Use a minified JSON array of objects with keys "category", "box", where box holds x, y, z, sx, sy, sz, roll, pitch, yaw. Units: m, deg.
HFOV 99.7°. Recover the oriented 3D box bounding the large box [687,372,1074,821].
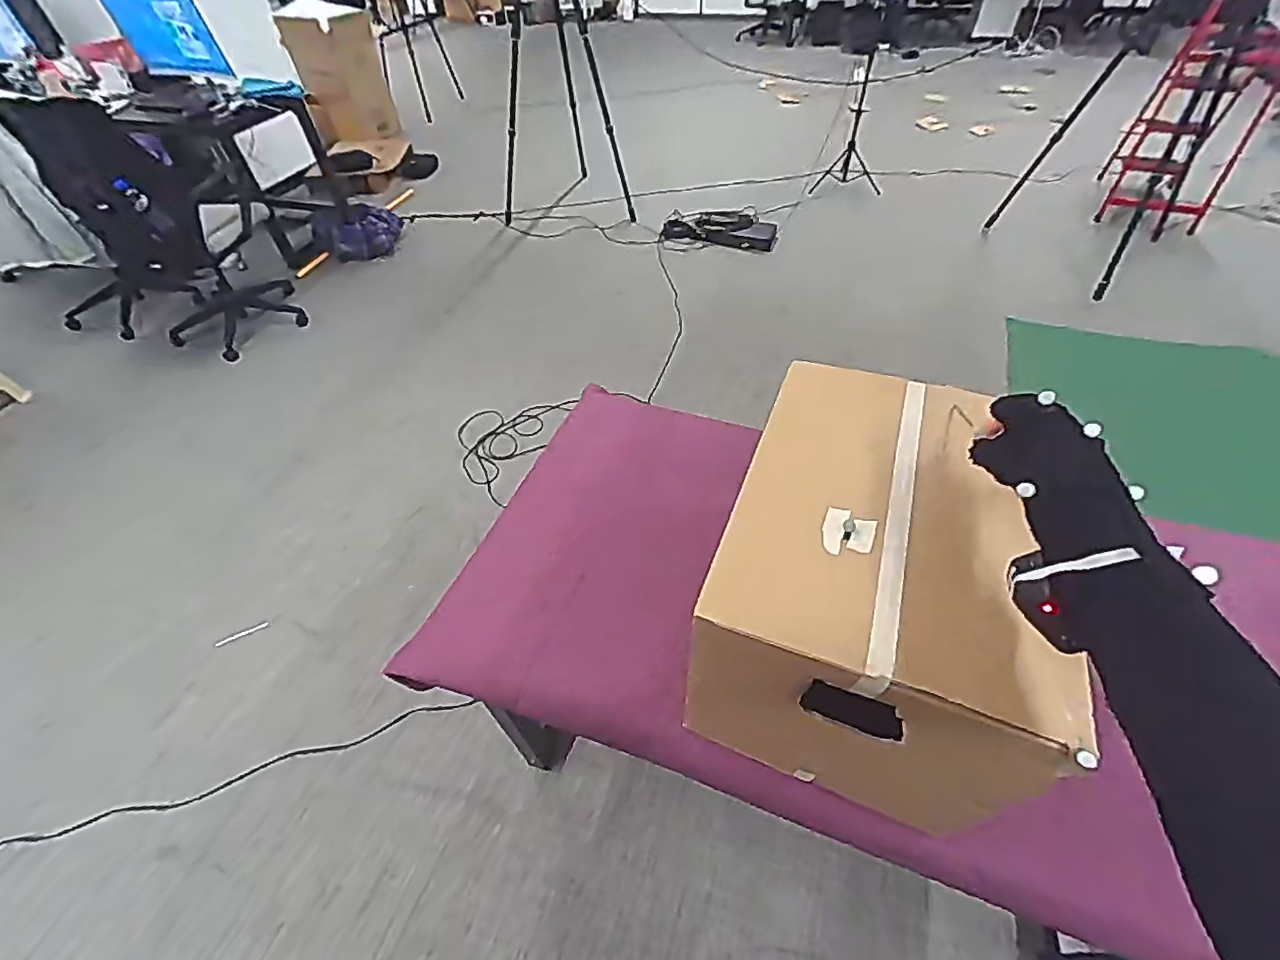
[{"category":"large box","box":[0.270,0.130,0.684,0.320,0.320,0.408,16,52,17]}]
